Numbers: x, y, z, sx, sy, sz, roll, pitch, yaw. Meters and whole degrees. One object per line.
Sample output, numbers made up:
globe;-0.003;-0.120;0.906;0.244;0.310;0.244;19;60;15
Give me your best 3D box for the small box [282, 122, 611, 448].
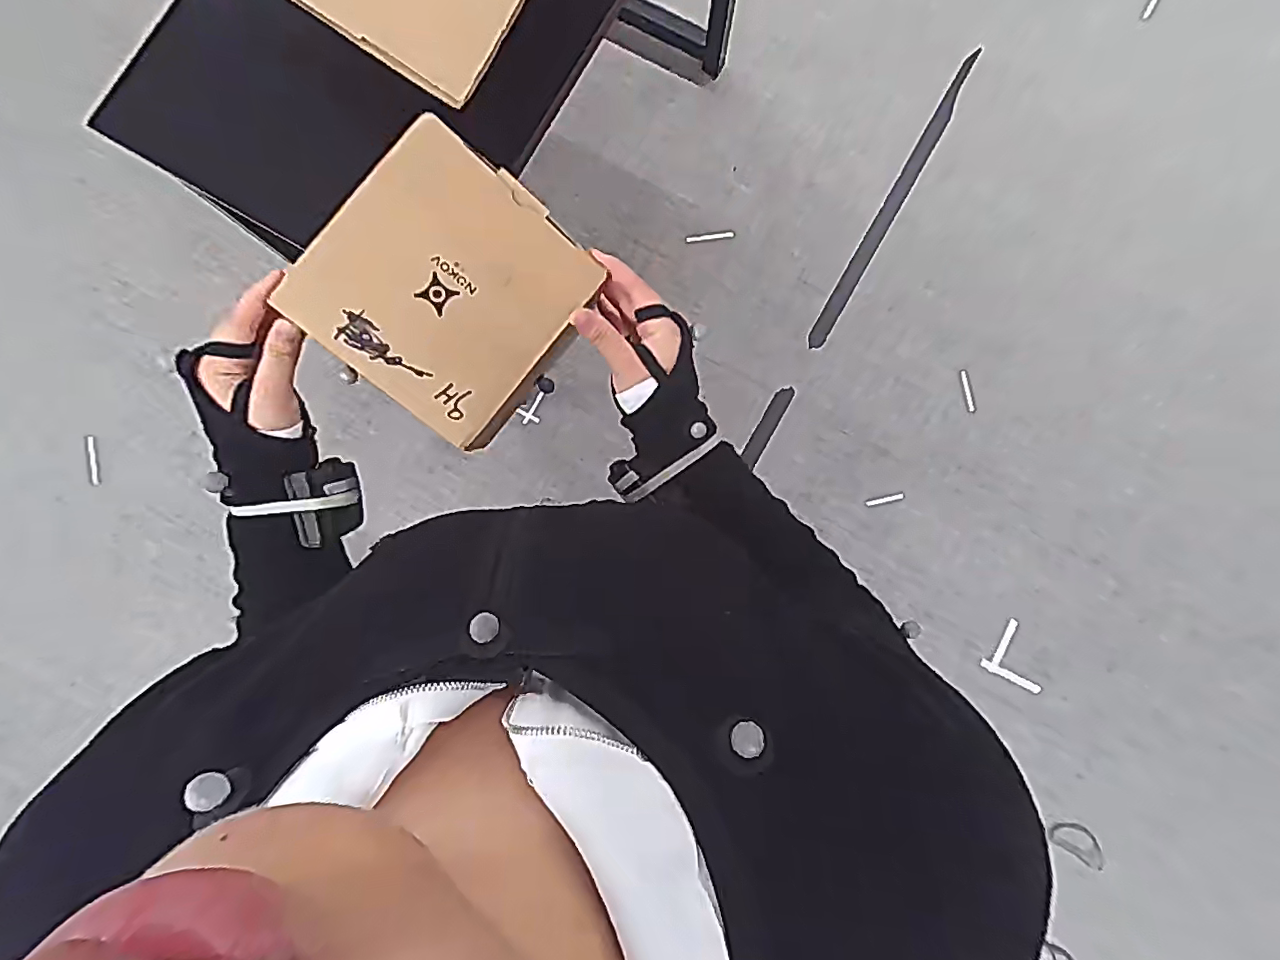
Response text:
small box;-0.151;-0.145;0.471;0.168;0.176;0.179;40;85;-11
